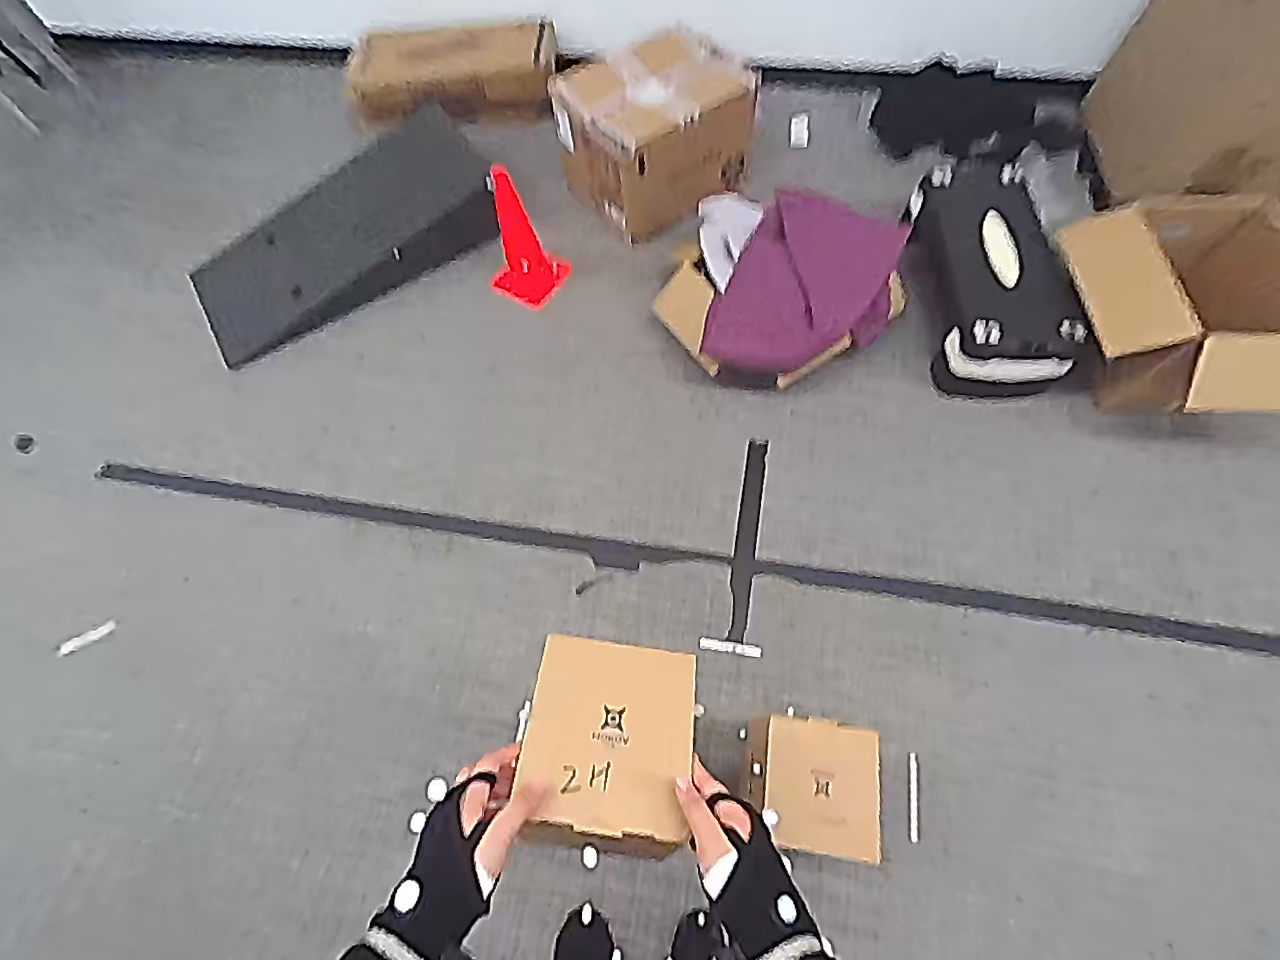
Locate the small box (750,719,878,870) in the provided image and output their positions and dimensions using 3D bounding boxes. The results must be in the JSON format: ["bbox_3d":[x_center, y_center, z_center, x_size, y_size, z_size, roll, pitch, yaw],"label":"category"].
[{"bbox_3d":[0.272,0.494,0.874,0.168,0.176,0.179,6,66,7],"label":"small box"}]

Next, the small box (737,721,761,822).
[{"bbox_3d":[0.285,0.566,1.020,0.179,0.176,0.168,11,66,7],"label":"small box"}]
